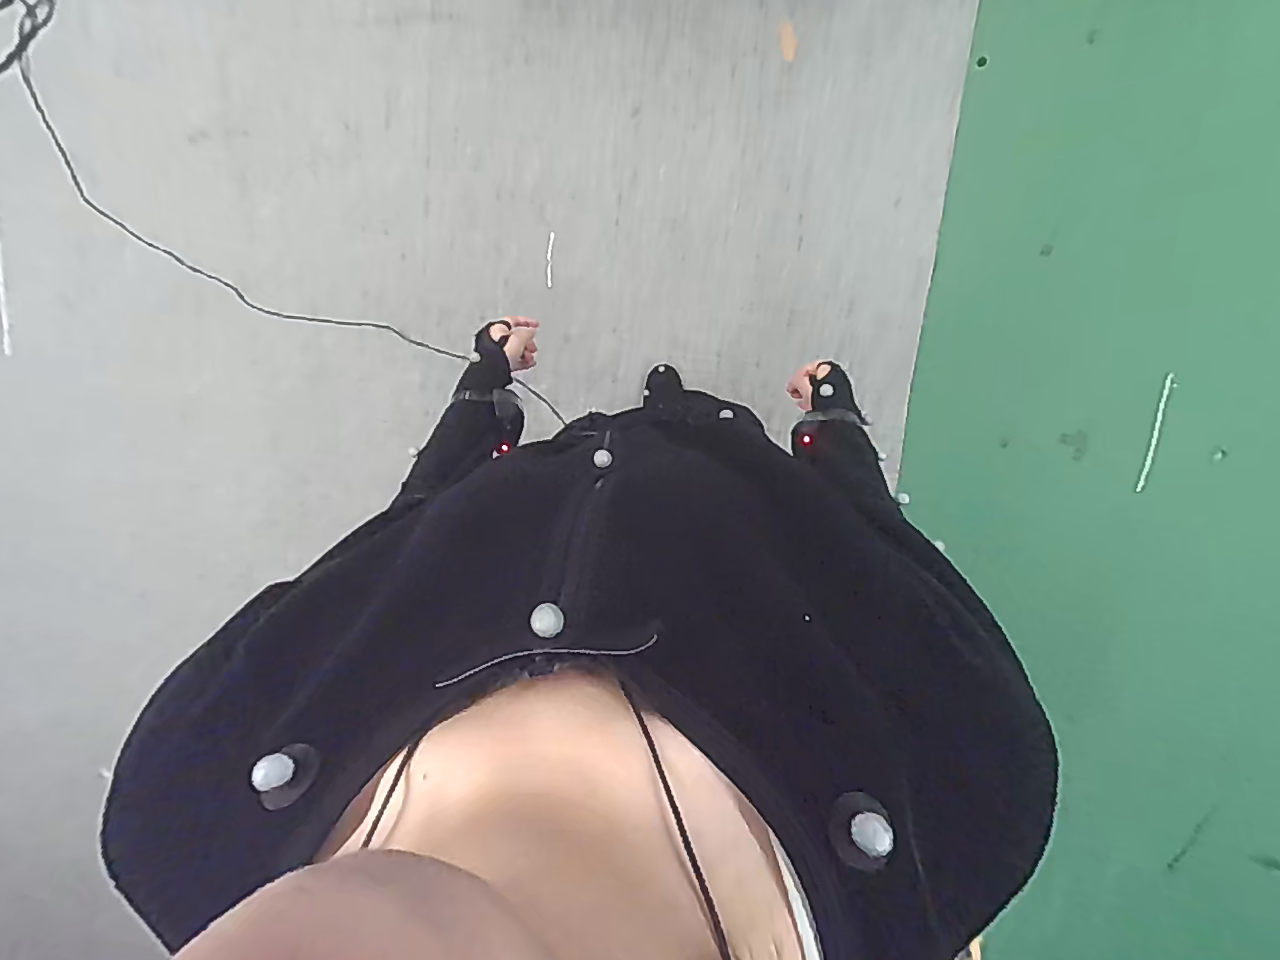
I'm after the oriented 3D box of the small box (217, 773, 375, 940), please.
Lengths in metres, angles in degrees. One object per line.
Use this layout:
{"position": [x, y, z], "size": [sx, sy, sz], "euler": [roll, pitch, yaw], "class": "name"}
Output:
{"position": [-0.661, 0.730, 1.068], "size": [0.168, 0.176, 0.179], "euler": [40, 99, -4], "class": "small box"}
